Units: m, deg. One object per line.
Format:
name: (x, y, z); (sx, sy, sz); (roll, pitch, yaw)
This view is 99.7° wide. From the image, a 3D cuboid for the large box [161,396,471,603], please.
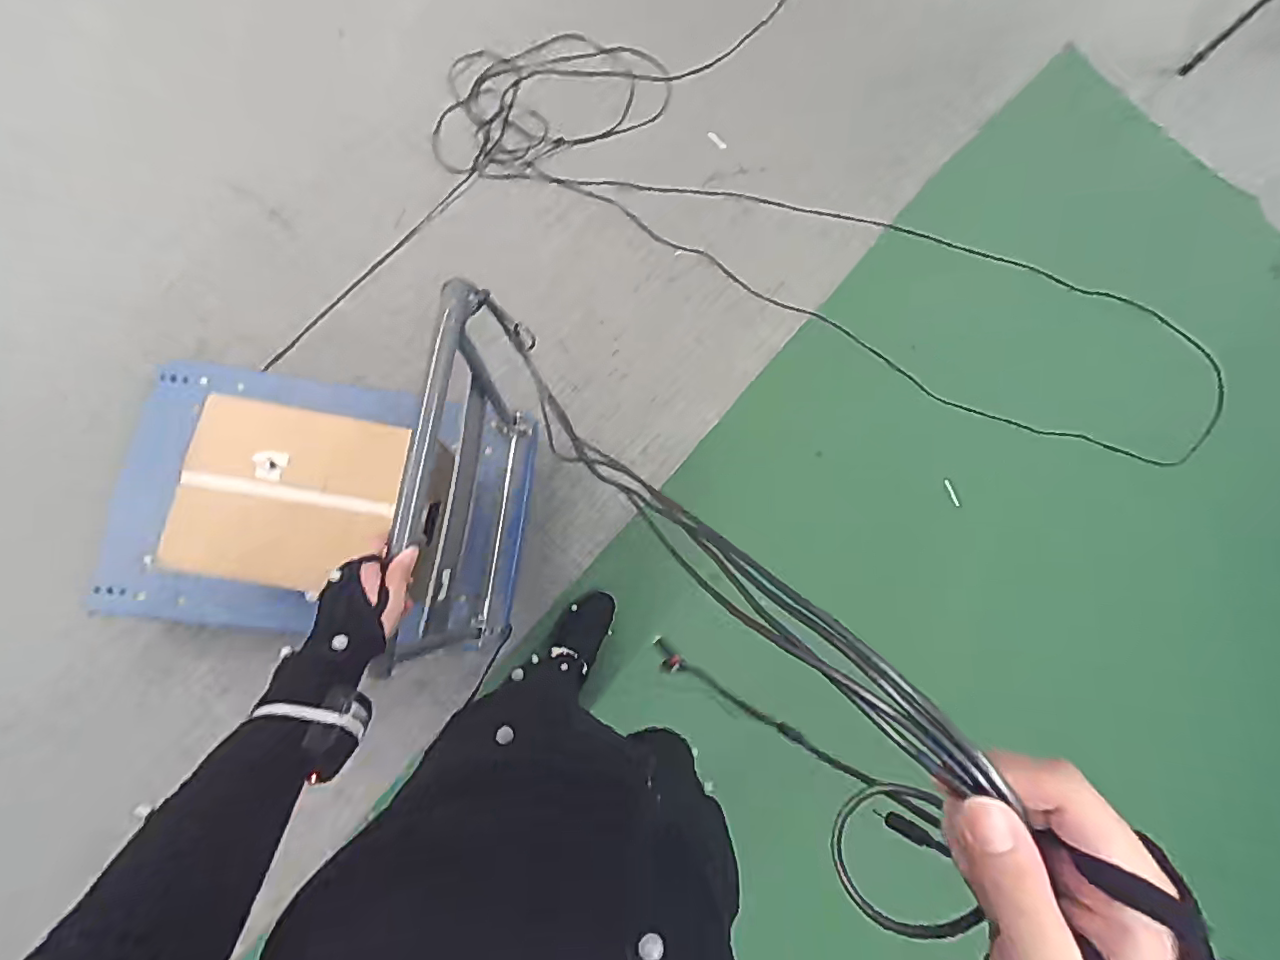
large box: (-0.592, 0.056, 1.082); (0.408, 0.320, 0.320); (10, 78, -5)
